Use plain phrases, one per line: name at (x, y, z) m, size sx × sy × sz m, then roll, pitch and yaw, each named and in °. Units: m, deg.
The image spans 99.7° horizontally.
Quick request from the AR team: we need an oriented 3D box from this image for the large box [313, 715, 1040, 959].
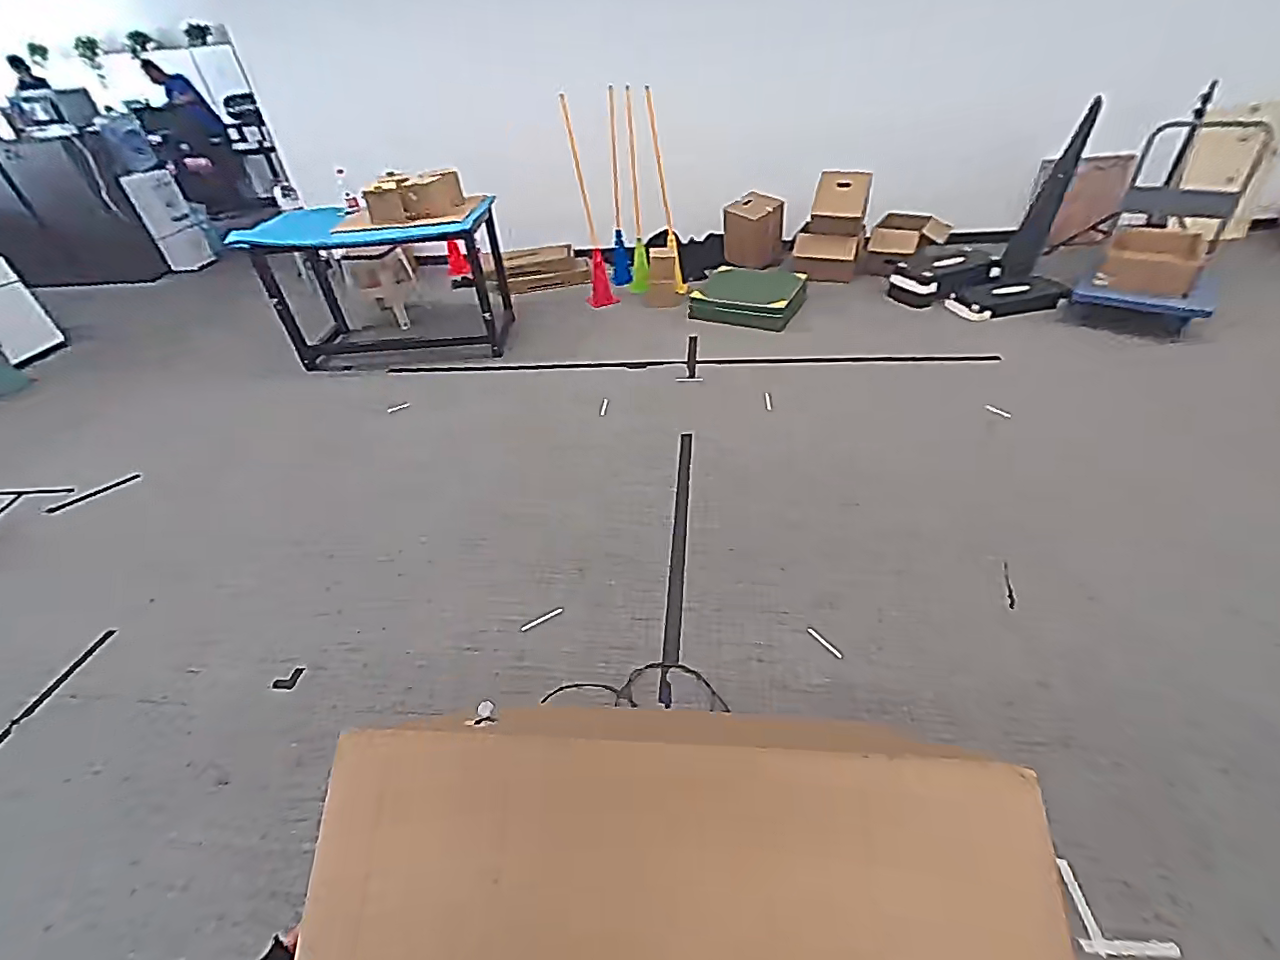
large box at (0.022, 0.358, 0.416) m, size 0.408 × 0.320 × 0.320 m, roll -1°, pitch 71°, yaw 7°
